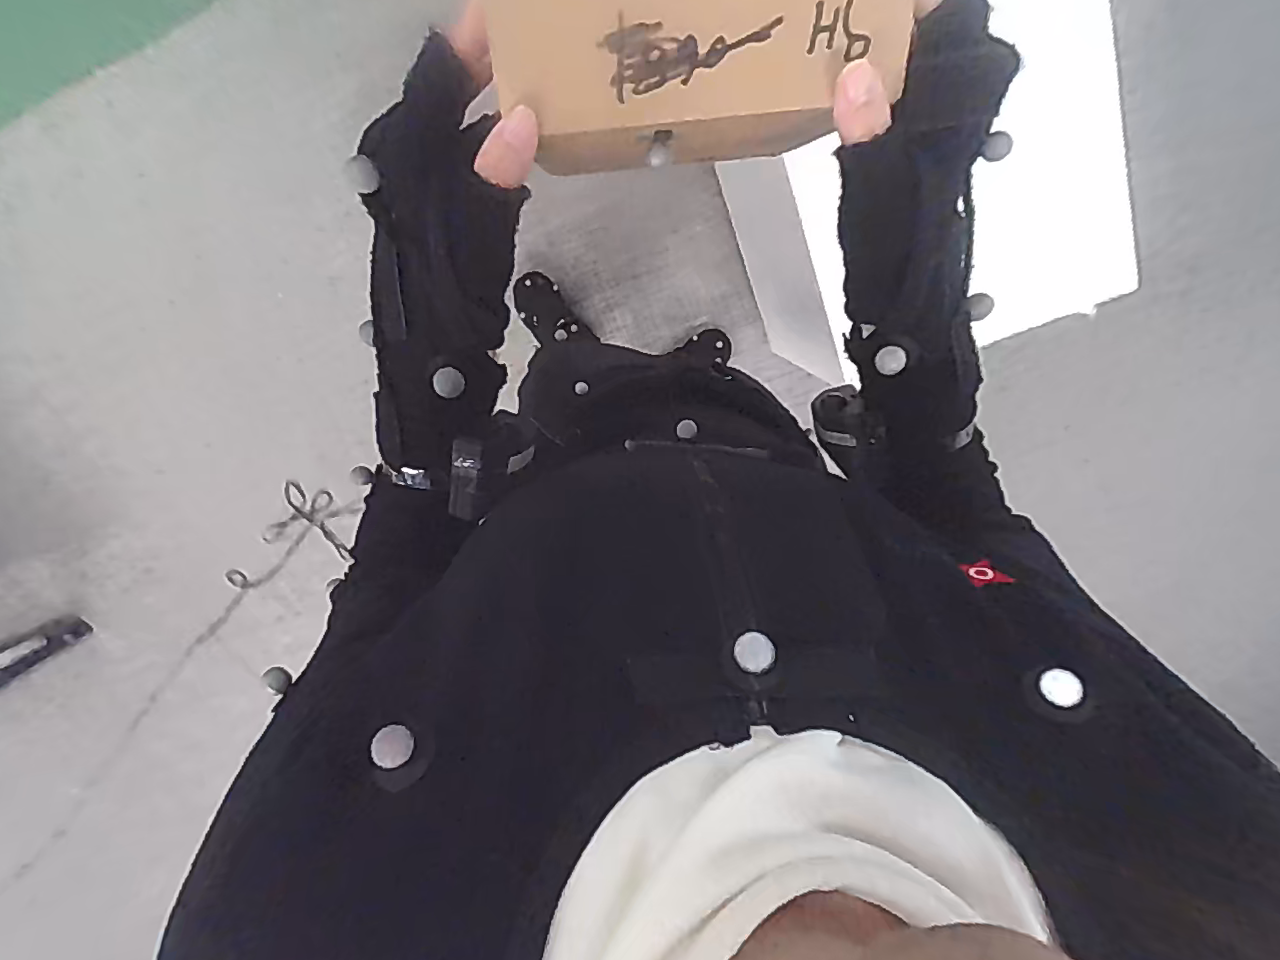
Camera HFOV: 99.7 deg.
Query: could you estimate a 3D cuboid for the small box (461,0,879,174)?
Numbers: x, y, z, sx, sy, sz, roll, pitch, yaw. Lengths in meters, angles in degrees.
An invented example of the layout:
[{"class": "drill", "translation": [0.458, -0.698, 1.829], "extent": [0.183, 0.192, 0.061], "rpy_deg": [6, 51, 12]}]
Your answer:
[{"class": "small box", "translation": [0.005, -0.264, 0.262], "extent": [0.168, 0.176, 0.179], "rpy_deg": [-6, 114, 1]}]
